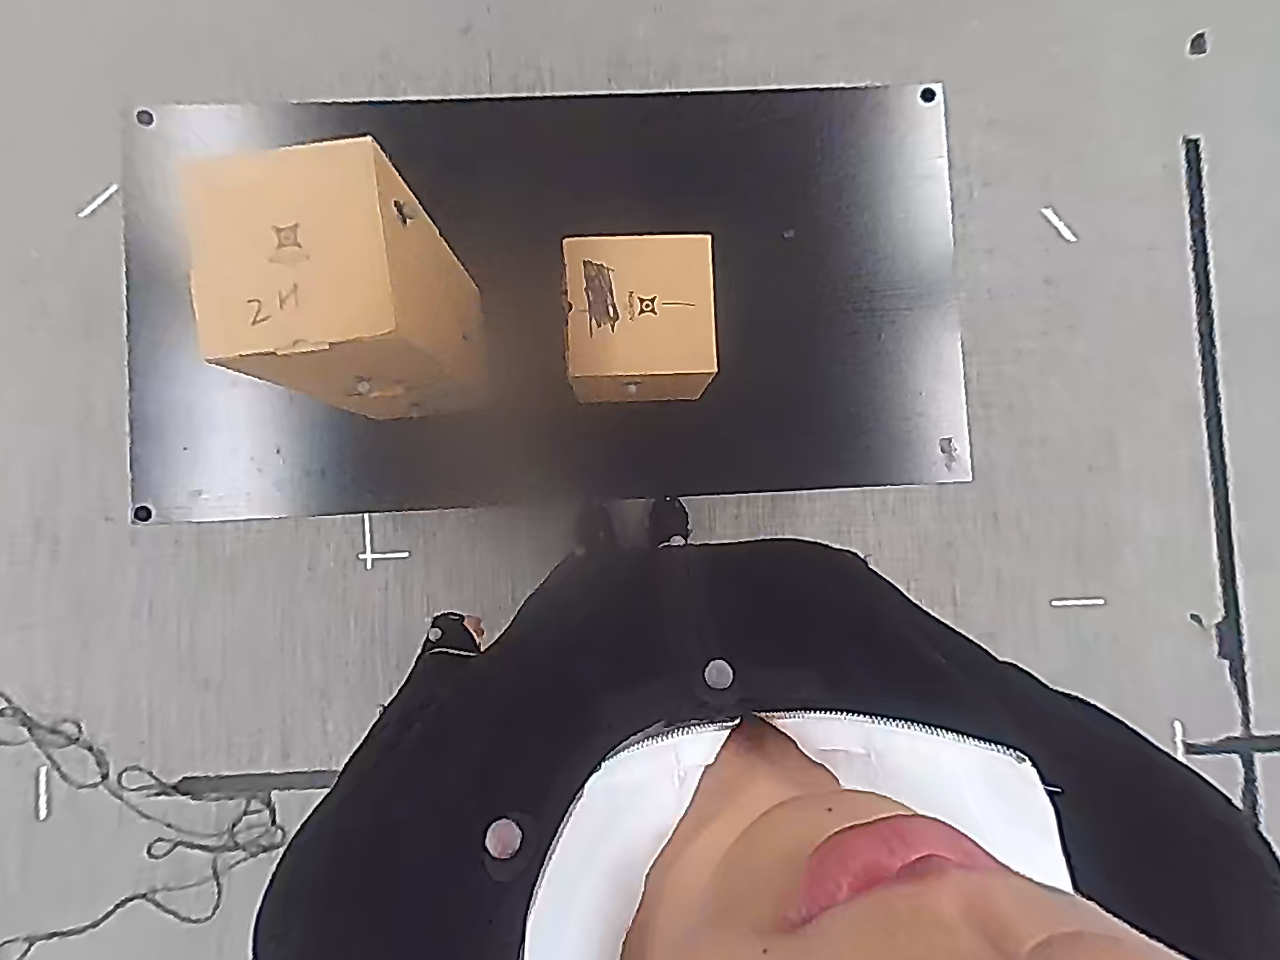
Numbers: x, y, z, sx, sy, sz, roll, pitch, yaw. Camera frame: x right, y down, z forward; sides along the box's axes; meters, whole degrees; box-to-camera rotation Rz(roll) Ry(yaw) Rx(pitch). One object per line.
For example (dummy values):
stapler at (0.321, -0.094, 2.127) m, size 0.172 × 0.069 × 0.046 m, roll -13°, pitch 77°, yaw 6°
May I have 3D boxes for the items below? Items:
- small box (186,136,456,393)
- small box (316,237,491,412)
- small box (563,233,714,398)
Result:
small box at (-0.298, -0.198, 0.541) m, size 0.168 × 0.176 × 0.179 m, roll -9°, pitch 88°, yaw -1°
small box at (-0.302, -0.188, 0.706) m, size 0.168 × 0.176 × 0.179 m, roll -7°, pitch 88°, yaw -1°
small box at (-0.003, -0.205, 0.713) m, size 0.179 × 0.176 × 0.168 m, roll -2°, pitch 88°, yaw -2°
